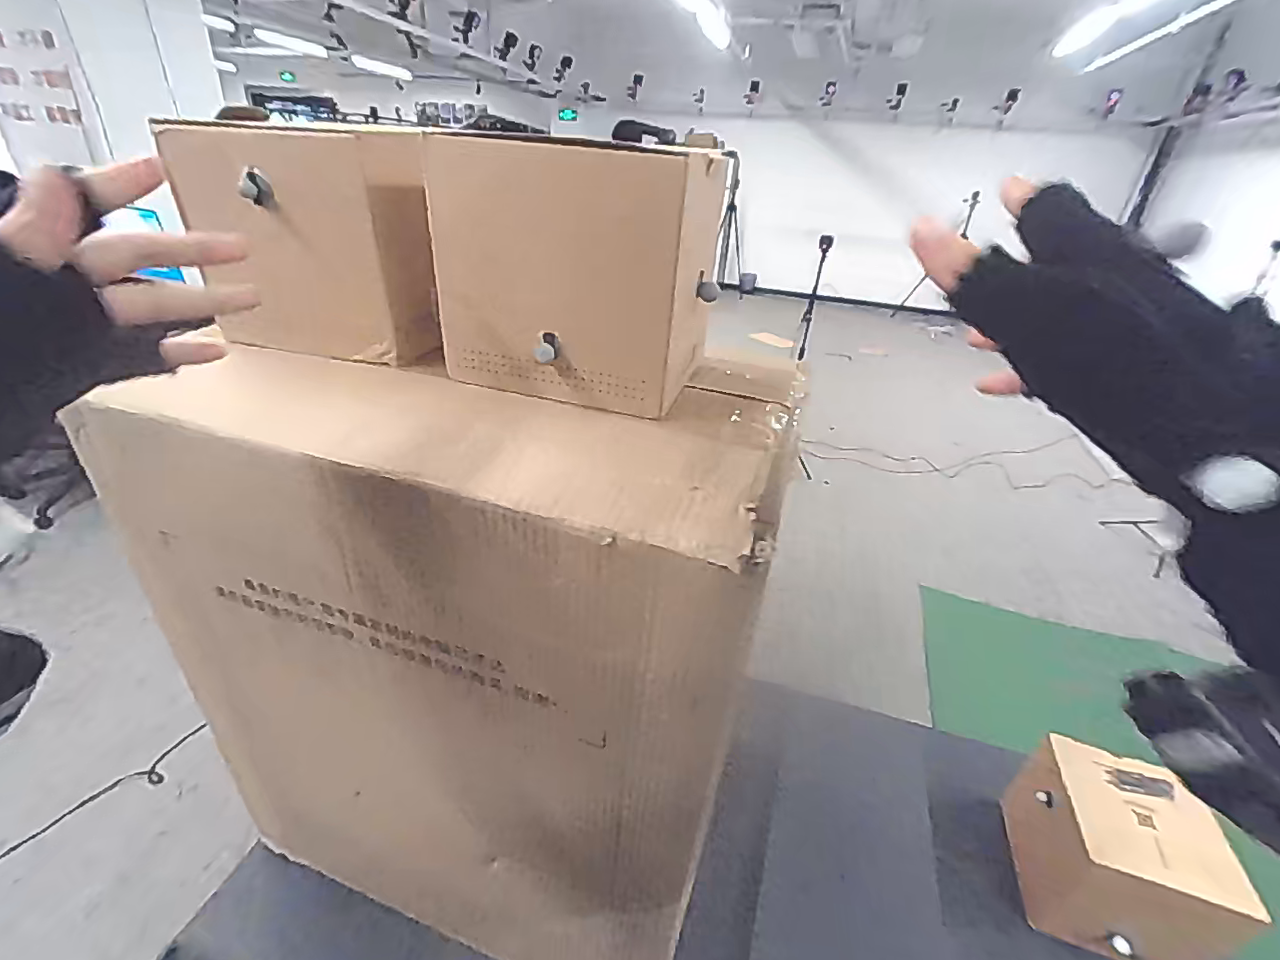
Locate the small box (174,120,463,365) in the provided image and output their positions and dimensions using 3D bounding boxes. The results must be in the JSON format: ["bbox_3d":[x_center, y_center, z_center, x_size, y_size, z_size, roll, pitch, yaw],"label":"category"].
[{"bbox_3d":[-0.244,-0.213,0.485,0.179,0.176,0.168,11,33,10],"label":"small box"}]

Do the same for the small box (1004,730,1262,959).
[{"bbox_3d":[0.607,0.475,0.703,0.168,0.176,0.179,13,31,15],"label":"small box"}]

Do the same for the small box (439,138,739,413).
[{"bbox_3d":[-0.031,-0.167,0.435,0.179,0.176,0.168,13,32,11],"label":"small box"}]
